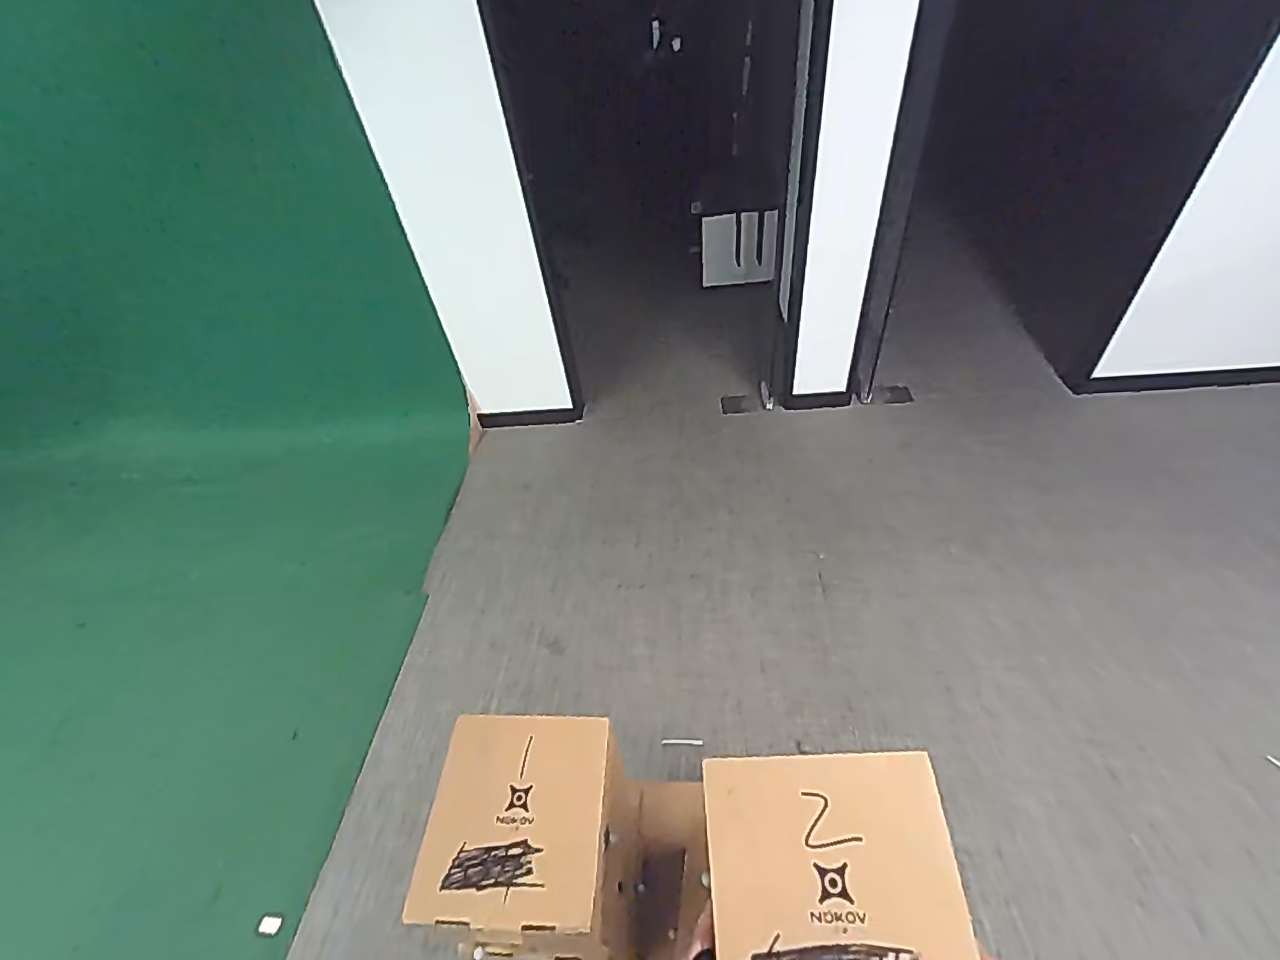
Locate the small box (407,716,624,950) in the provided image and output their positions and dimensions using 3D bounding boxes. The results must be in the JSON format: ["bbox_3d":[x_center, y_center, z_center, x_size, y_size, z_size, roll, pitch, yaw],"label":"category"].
[{"bbox_3d":[-0.108,0.368,0.564,0.168,0.176,0.179,-1,44,4],"label":"small box"}]

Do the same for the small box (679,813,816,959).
[{"bbox_3d":[0.150,0.599,0.755,0.168,0.176,0.179,1,44,12],"label":"small box"}]

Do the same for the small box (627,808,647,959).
[{"bbox_3d":[-0.081,0.599,0.795,0.168,0.176,0.179,0,44,6],"label":"small box"}]

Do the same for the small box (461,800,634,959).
[{"bbox_3d":[-0.098,0.490,0.673,0.168,0.176,0.179,-1,45,4],"label":"small box"}]
